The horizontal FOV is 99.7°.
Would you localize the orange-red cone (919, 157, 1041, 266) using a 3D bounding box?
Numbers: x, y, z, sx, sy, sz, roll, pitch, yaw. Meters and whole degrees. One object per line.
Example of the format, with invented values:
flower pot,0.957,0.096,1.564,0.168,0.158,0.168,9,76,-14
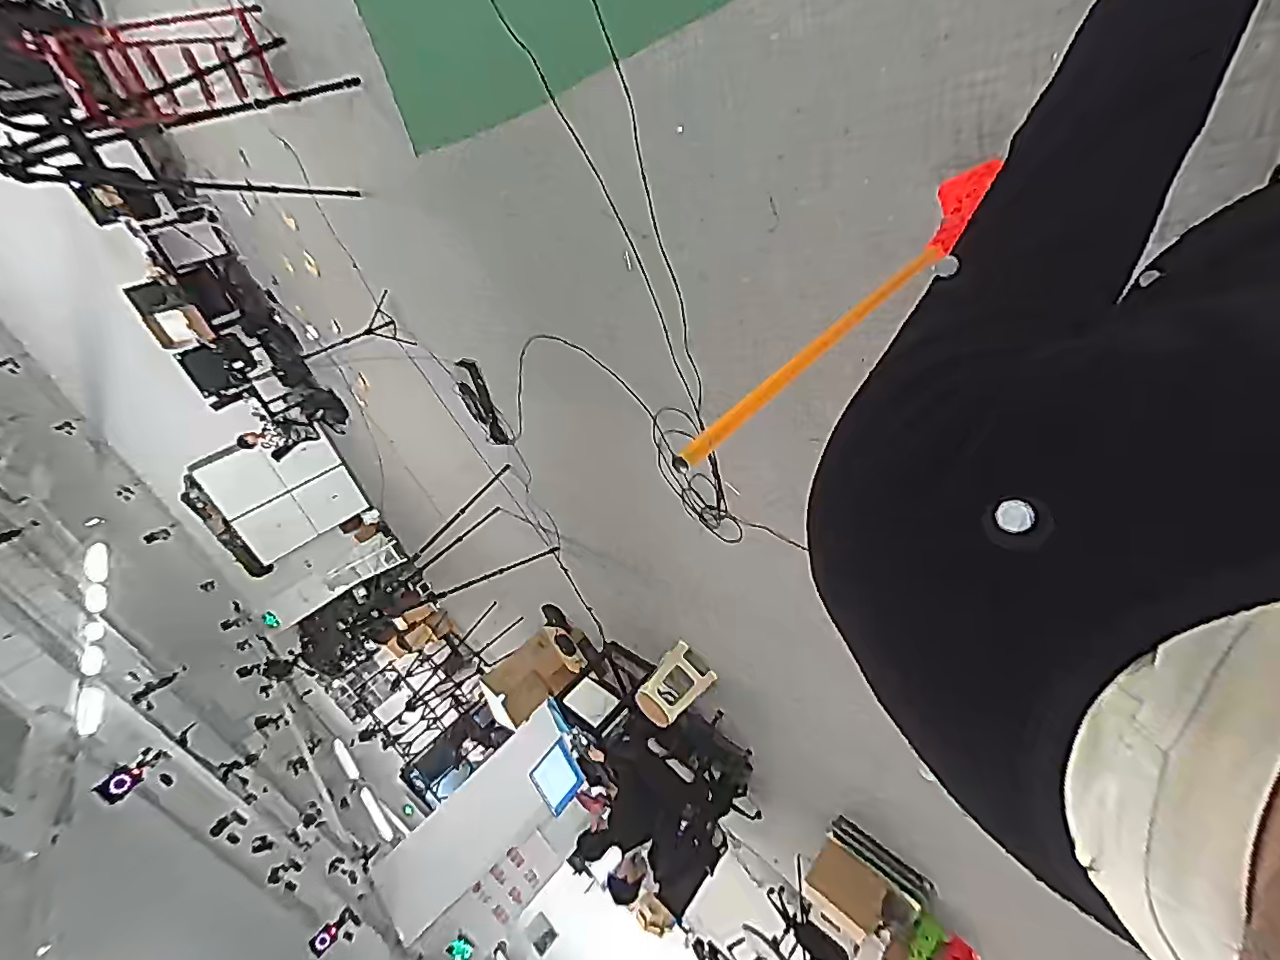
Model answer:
orange-red cone,0.714,-0.548,1.205,0.199,0.360,0.198,-1,120,54
